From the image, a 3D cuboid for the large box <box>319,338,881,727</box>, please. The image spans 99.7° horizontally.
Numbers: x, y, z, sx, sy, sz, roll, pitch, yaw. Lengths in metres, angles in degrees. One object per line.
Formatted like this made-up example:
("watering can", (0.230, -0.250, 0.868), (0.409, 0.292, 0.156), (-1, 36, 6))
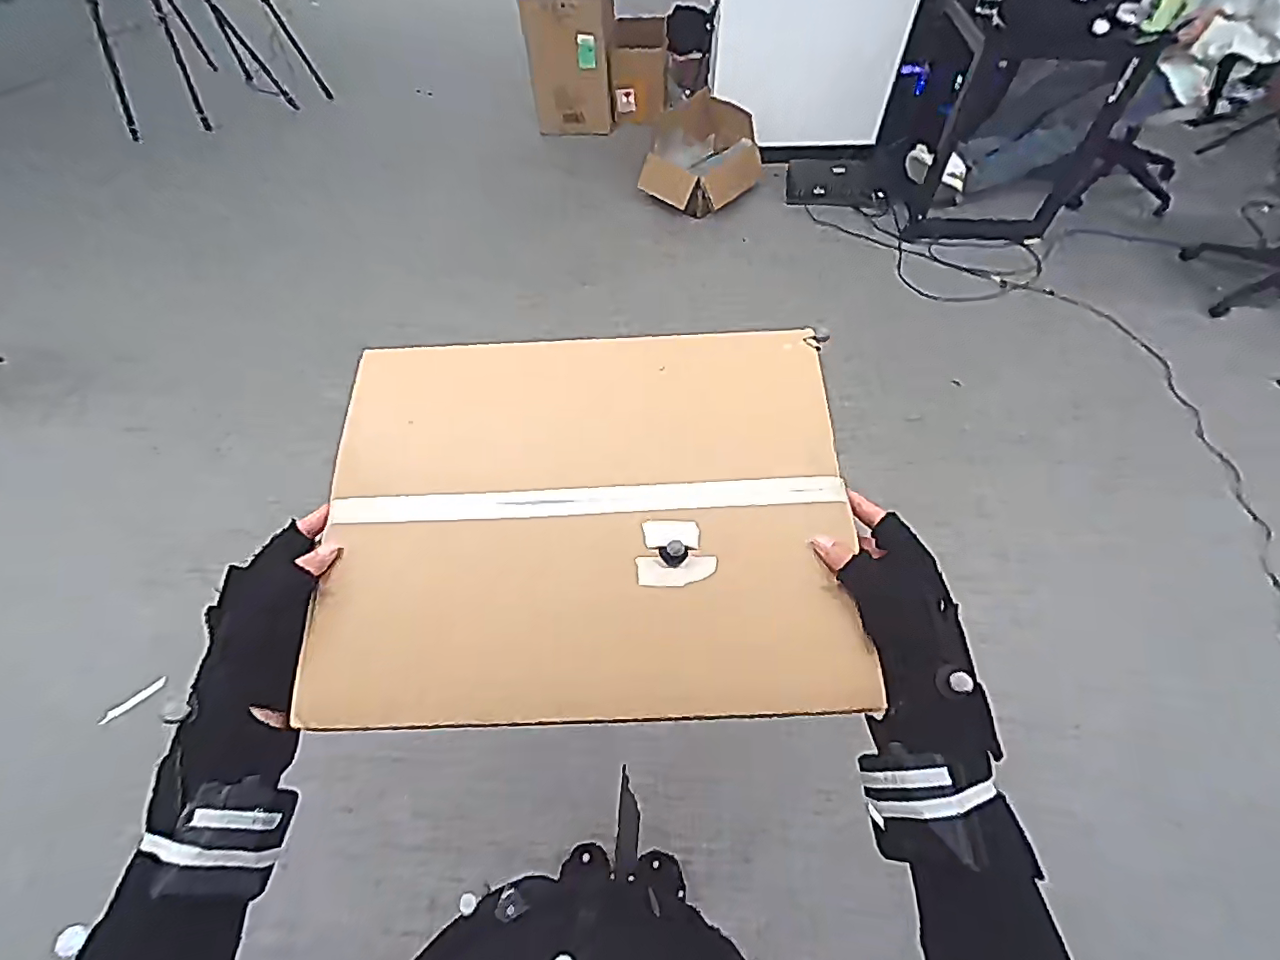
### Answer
("large box", (-0.033, 0.079, 0.571), (0.408, 0.320, 0.320), (-2, 67, 0))
